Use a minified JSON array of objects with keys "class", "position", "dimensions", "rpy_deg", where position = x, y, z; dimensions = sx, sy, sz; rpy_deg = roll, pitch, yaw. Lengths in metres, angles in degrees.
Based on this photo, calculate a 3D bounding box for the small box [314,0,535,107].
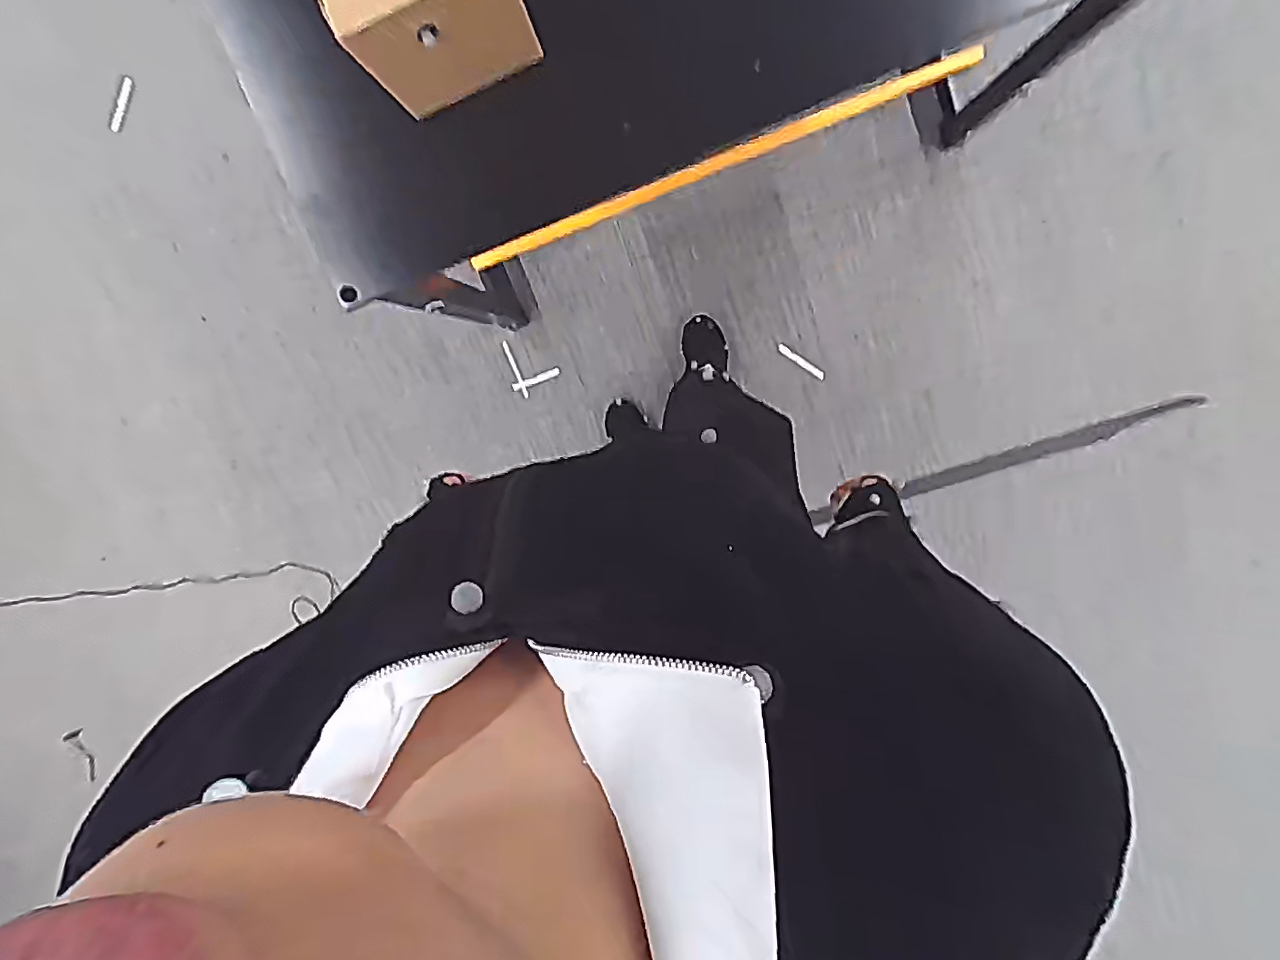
[{"class":"small box","position":[-0.232,-0.533,0.557],"dimensions":[0.179,0.176,0.168],"rpy_deg":[-21,100,7]}]
